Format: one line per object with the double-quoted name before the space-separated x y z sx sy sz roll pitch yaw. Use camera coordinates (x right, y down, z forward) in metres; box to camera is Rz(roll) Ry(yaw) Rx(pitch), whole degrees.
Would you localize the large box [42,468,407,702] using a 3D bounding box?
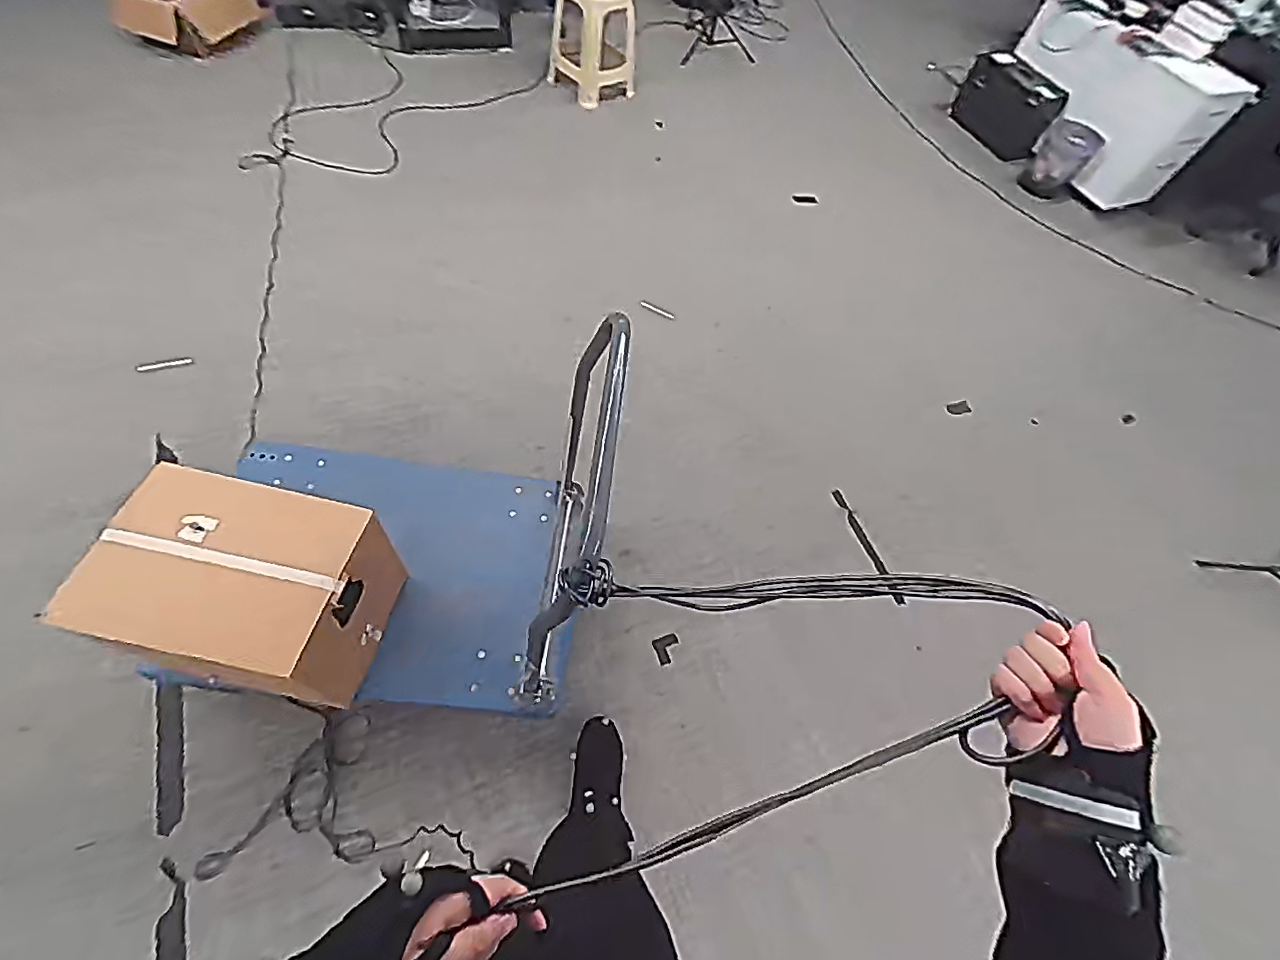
"large box" -0.734 0.218 1.051 0.408 0.320 0.320 13 58 -1
